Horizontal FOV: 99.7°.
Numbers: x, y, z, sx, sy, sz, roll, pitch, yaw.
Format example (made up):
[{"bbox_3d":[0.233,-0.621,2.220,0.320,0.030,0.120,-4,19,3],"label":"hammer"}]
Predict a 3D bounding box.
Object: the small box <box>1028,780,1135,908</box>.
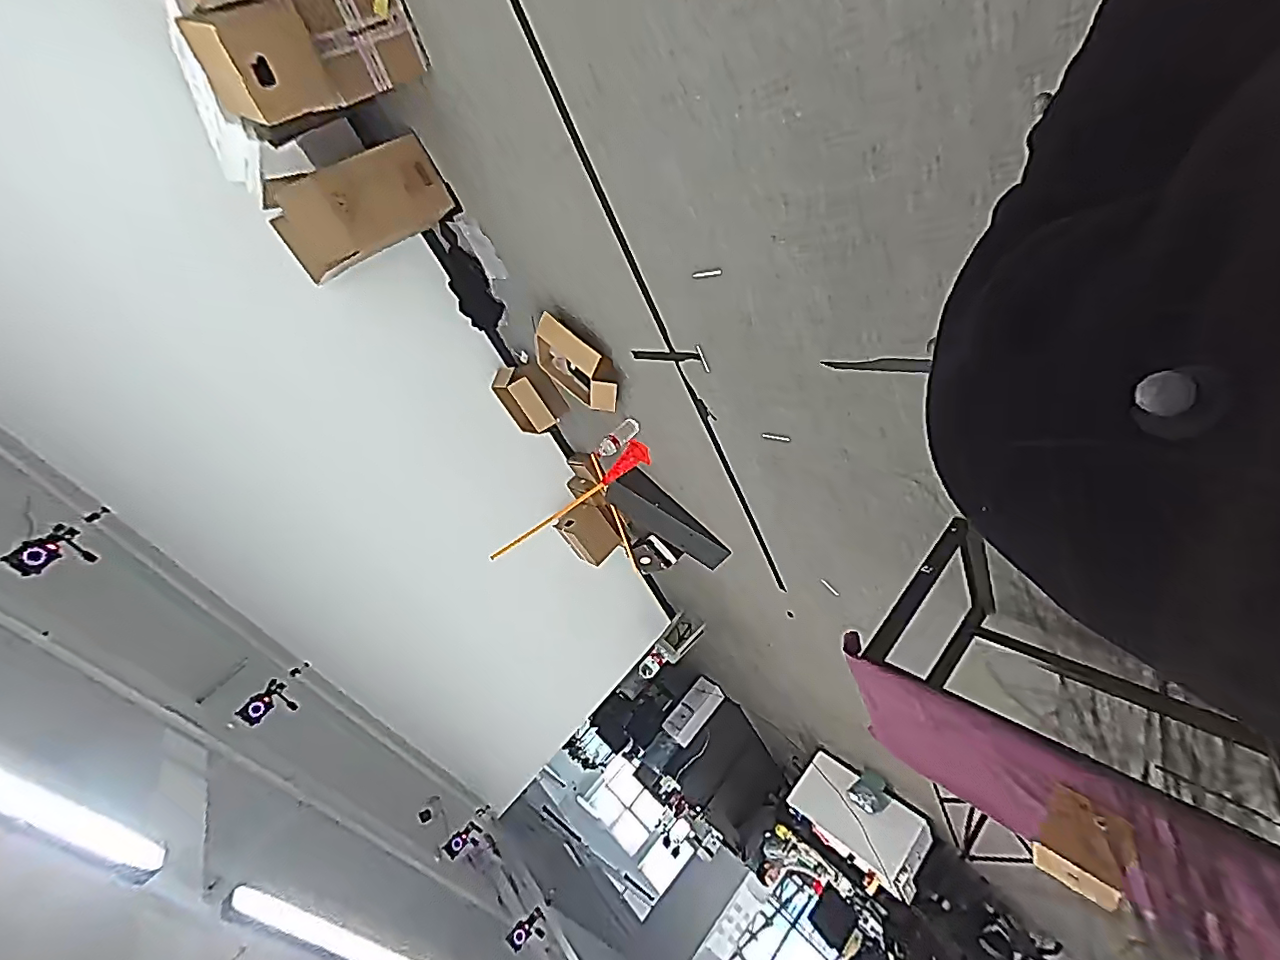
[{"bbox_3d":[1.078,0.886,1.325,0.168,0.176,0.179,18,145,47],"label":"small box"}]
